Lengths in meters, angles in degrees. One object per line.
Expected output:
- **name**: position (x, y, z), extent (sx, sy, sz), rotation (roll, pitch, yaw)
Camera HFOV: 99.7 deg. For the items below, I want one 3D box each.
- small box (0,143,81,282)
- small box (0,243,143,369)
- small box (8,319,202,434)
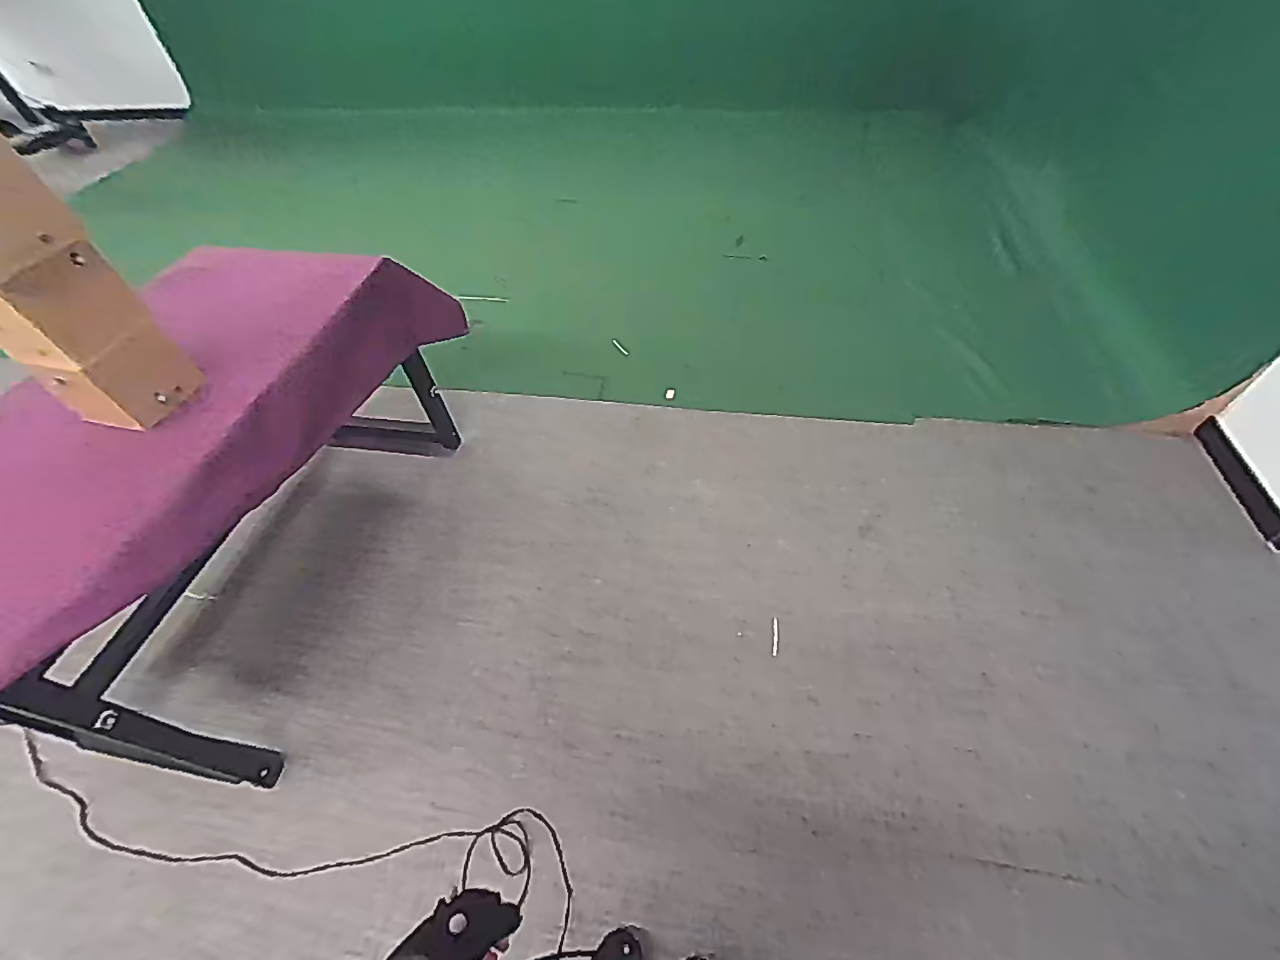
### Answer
- **small box**: position (-1.054, -0.417, 0.831), extent (0.179, 0.176, 0.168), rotation (10, 54, 14)
- **small box**: position (-1.066, -0.318, 0.963), extent (0.168, 0.176, 0.179), rotation (8, 53, 11)
- **small box**: position (-1.056, -0.212, 1.085), extent (0.179, 0.176, 0.168), rotation (10, 54, 12)
